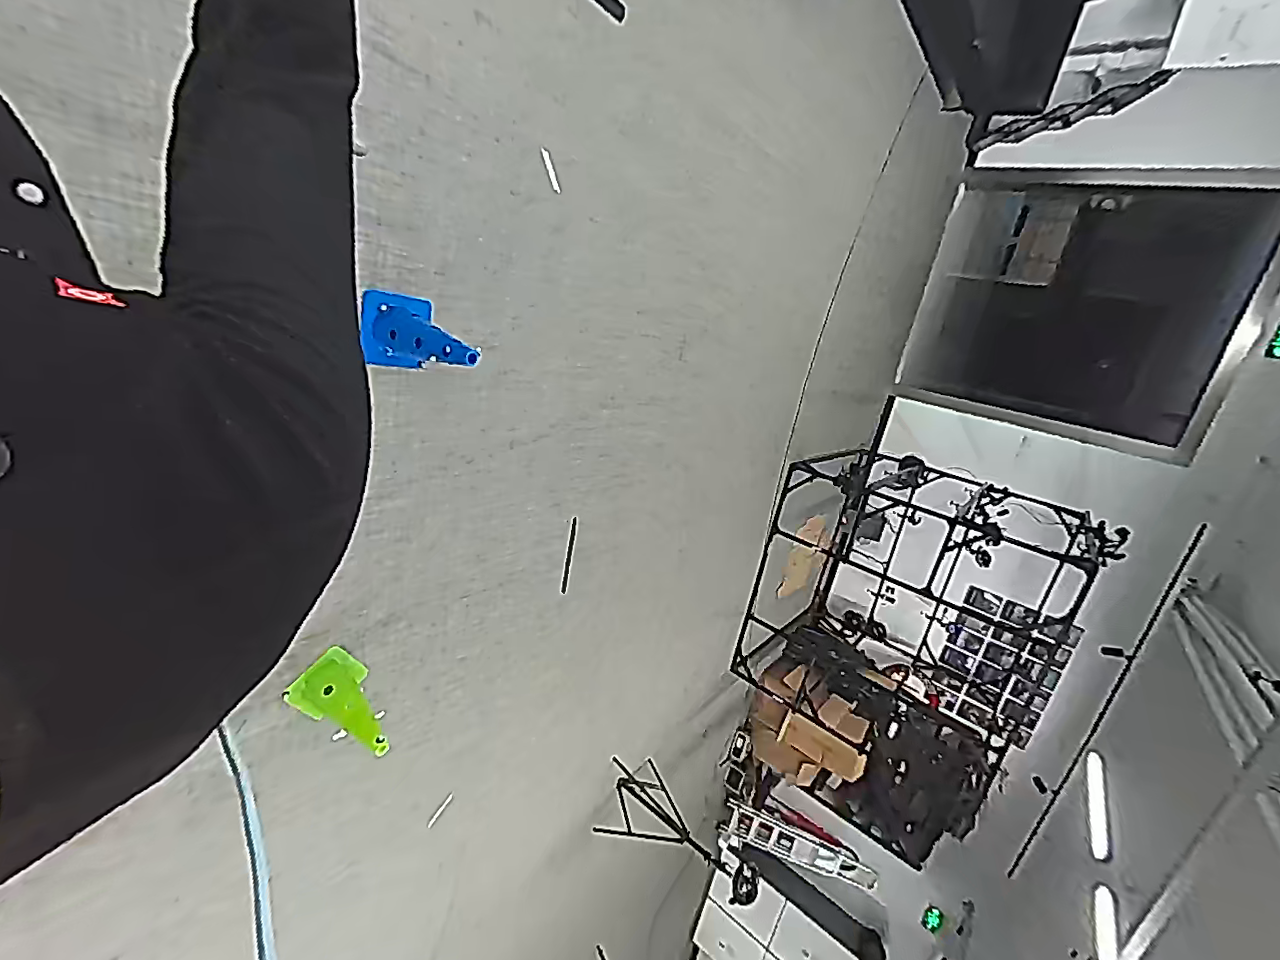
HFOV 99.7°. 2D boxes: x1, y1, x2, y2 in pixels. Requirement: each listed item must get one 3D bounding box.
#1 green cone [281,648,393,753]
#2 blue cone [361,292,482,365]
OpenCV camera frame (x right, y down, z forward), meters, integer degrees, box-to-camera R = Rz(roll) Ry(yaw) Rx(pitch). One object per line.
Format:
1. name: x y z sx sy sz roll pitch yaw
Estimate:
1. green cone: -0.863 0.705 1.626 0.202 0.368 0.200 -49 144 -28
2. blue cone: -0.559 -0.368 1.433 0.192 0.380 0.193 -6 115 -54
